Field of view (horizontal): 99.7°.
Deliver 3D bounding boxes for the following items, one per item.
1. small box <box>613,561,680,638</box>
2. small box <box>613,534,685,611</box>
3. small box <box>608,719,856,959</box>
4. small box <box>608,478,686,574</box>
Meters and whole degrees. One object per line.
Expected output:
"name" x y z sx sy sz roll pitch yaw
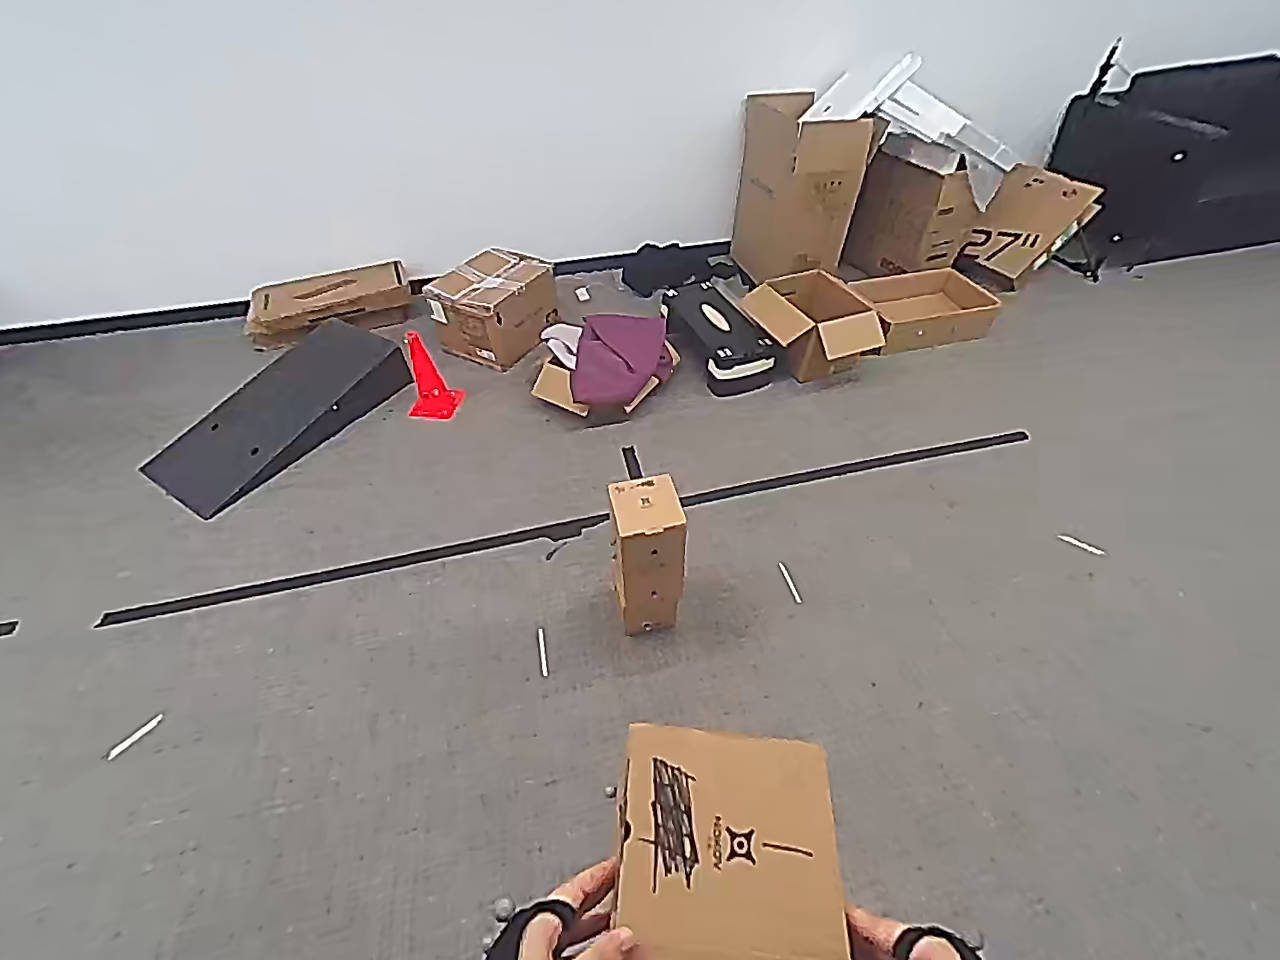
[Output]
"small box" 0.015 0.345 1.624 0.168 0.176 0.179 -11 48 -8
"small box" 0.021 0.235 1.500 0.168 0.176 0.179 -11 47 -7
"small box" 0.067 0.335 0.489 0.179 0.176 0.168 7 50 -1
"small box" 0.017 0.124 1.380 0.168 0.176 0.179 -10 47 -7
